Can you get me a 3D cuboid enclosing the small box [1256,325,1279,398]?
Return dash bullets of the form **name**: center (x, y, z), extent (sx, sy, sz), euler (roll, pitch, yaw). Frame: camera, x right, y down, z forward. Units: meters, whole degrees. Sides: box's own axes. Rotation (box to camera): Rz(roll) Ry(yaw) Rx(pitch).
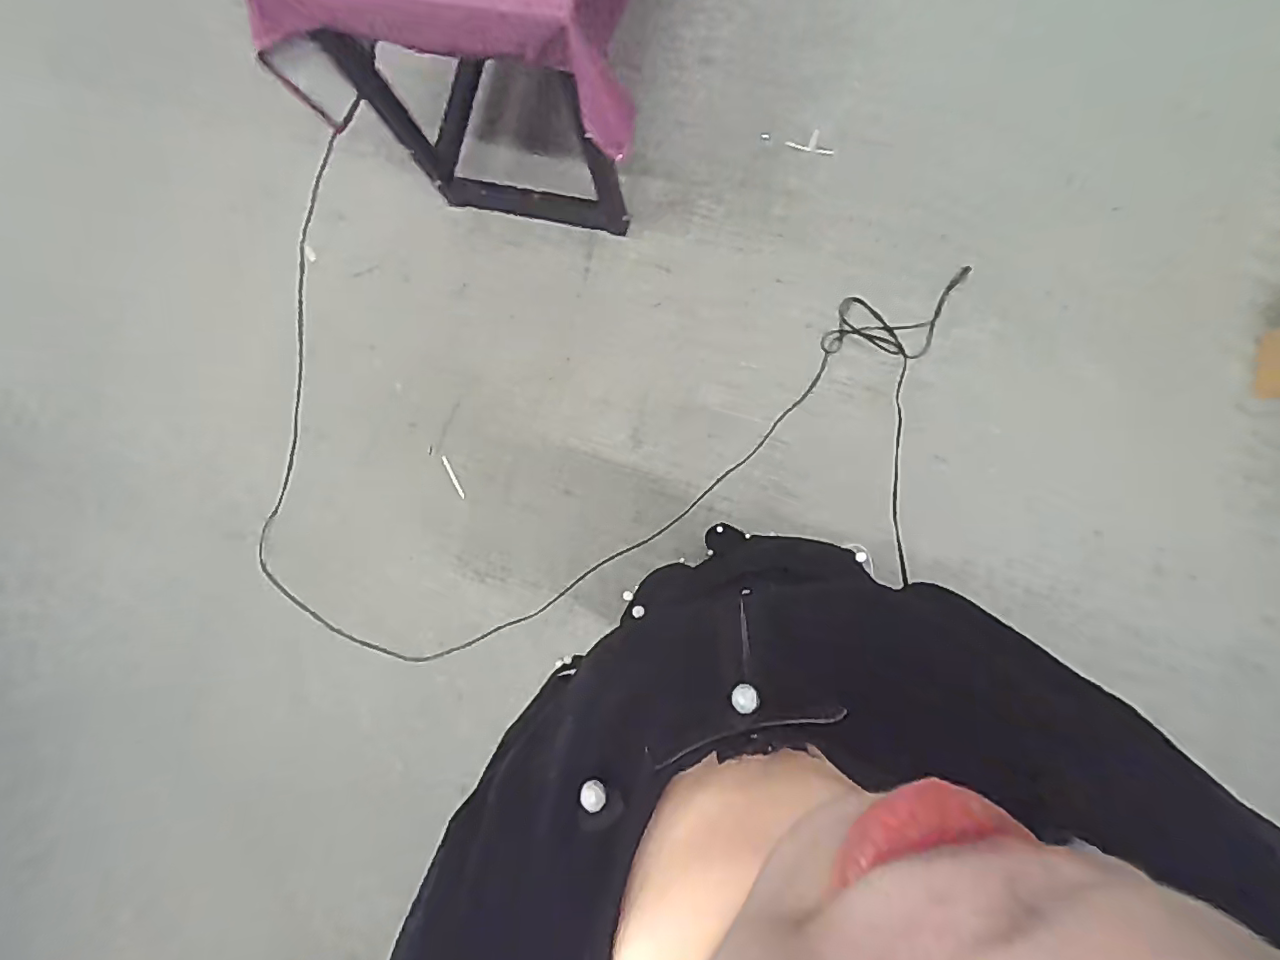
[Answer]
- **small box**: center (1.638, -0.293, 1.280), extent (0.168, 0.176, 0.179), euler (12, 88, 8)
